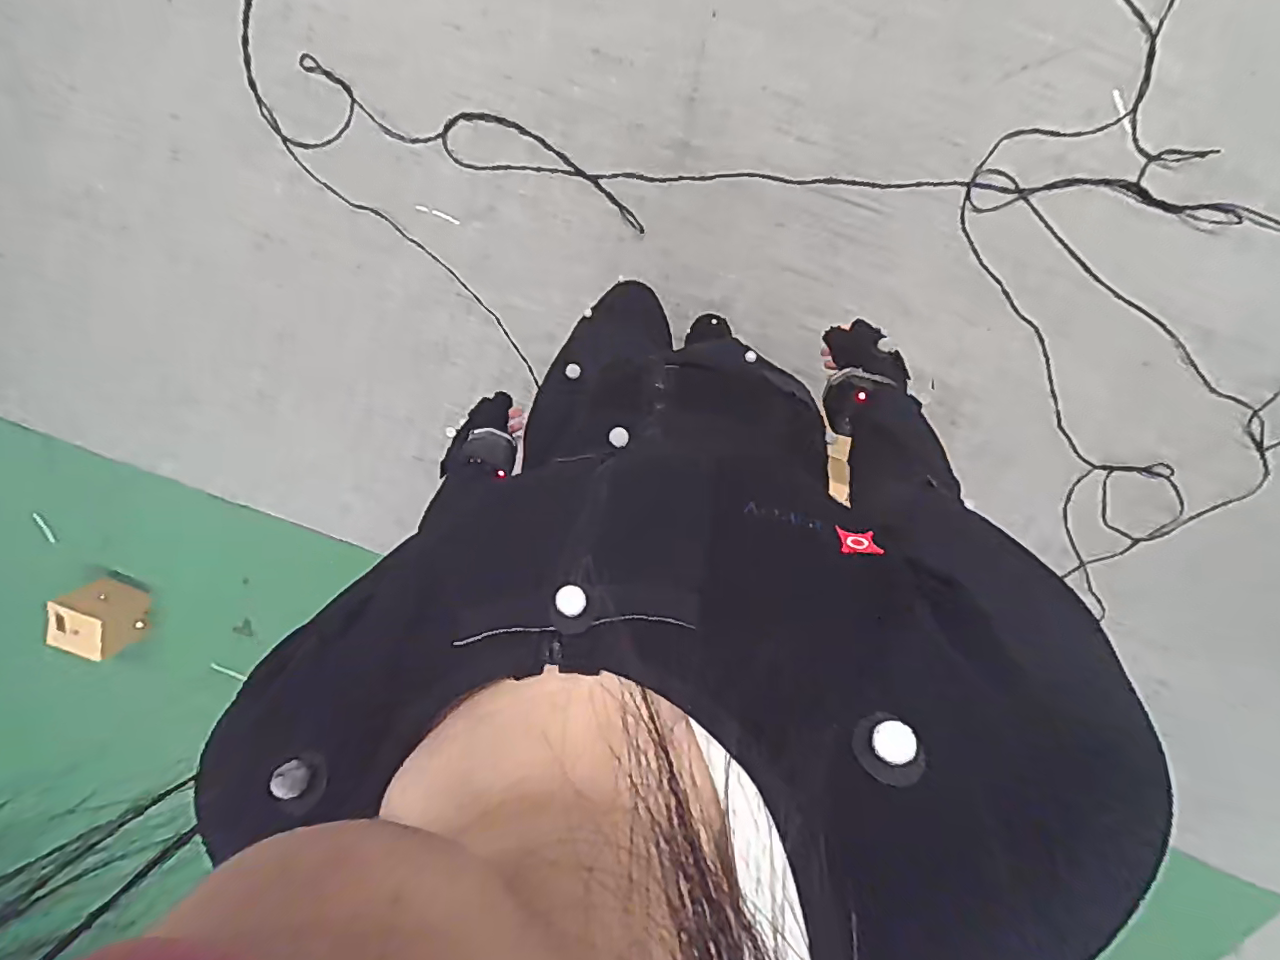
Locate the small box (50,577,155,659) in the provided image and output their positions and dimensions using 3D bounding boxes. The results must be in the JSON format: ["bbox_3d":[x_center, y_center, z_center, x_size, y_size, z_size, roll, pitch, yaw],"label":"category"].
[{"bbox_3d":[-1.736,0.438,1.751,0.179,0.176,0.168,21,109,-2],"label":"small box"}]
